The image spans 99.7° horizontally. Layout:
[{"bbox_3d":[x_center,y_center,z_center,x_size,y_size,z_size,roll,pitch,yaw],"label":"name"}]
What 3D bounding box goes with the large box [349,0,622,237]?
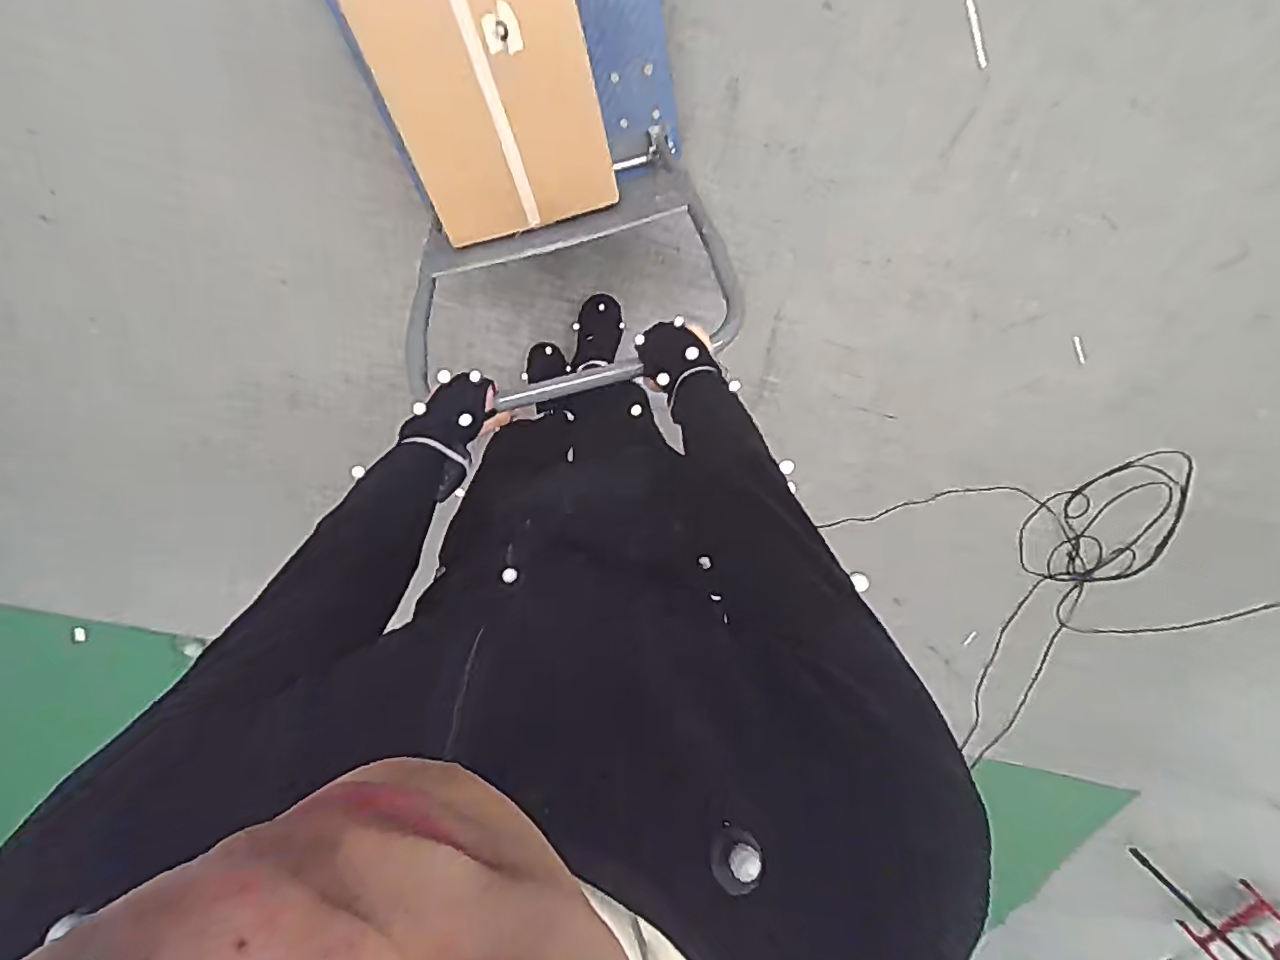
[{"bbox_3d":[-0.239,-0.709,0.934,0.320,0.320,0.408,-14,135,3],"label":"large box"}]
